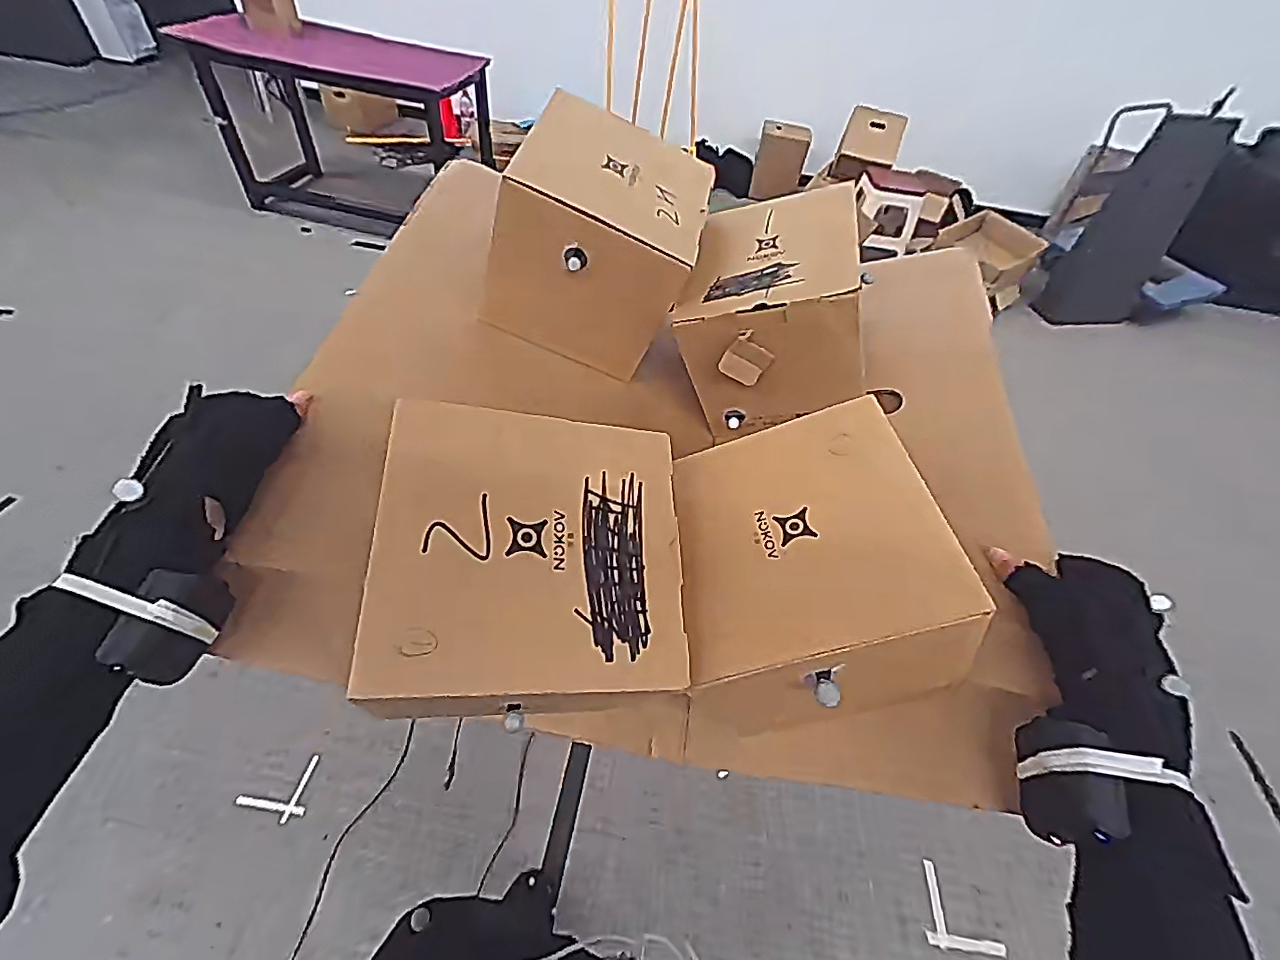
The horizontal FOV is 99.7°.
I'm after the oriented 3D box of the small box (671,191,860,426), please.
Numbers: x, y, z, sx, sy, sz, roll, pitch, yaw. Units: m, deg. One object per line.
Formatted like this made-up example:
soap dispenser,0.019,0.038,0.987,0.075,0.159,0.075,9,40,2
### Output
small box,0.147,-0.171,0.588,0.168,0.176,0.179,-2,54,23
